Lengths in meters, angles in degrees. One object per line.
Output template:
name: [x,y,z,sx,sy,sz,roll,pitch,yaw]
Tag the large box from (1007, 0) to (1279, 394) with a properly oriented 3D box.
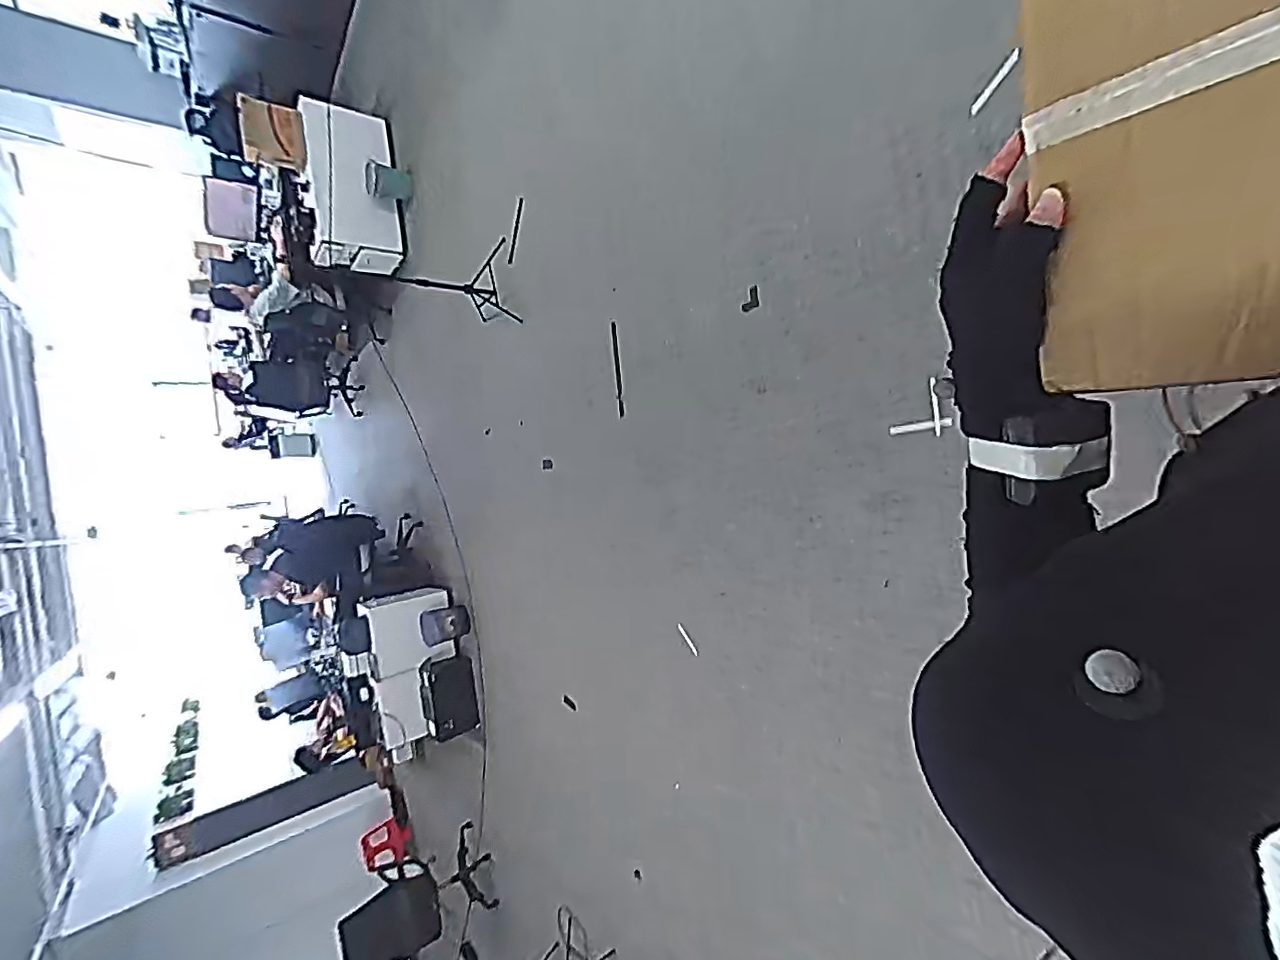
large box: [0.469,-0.242,0.262,0.408,0.320,0.320,2,106,53]
